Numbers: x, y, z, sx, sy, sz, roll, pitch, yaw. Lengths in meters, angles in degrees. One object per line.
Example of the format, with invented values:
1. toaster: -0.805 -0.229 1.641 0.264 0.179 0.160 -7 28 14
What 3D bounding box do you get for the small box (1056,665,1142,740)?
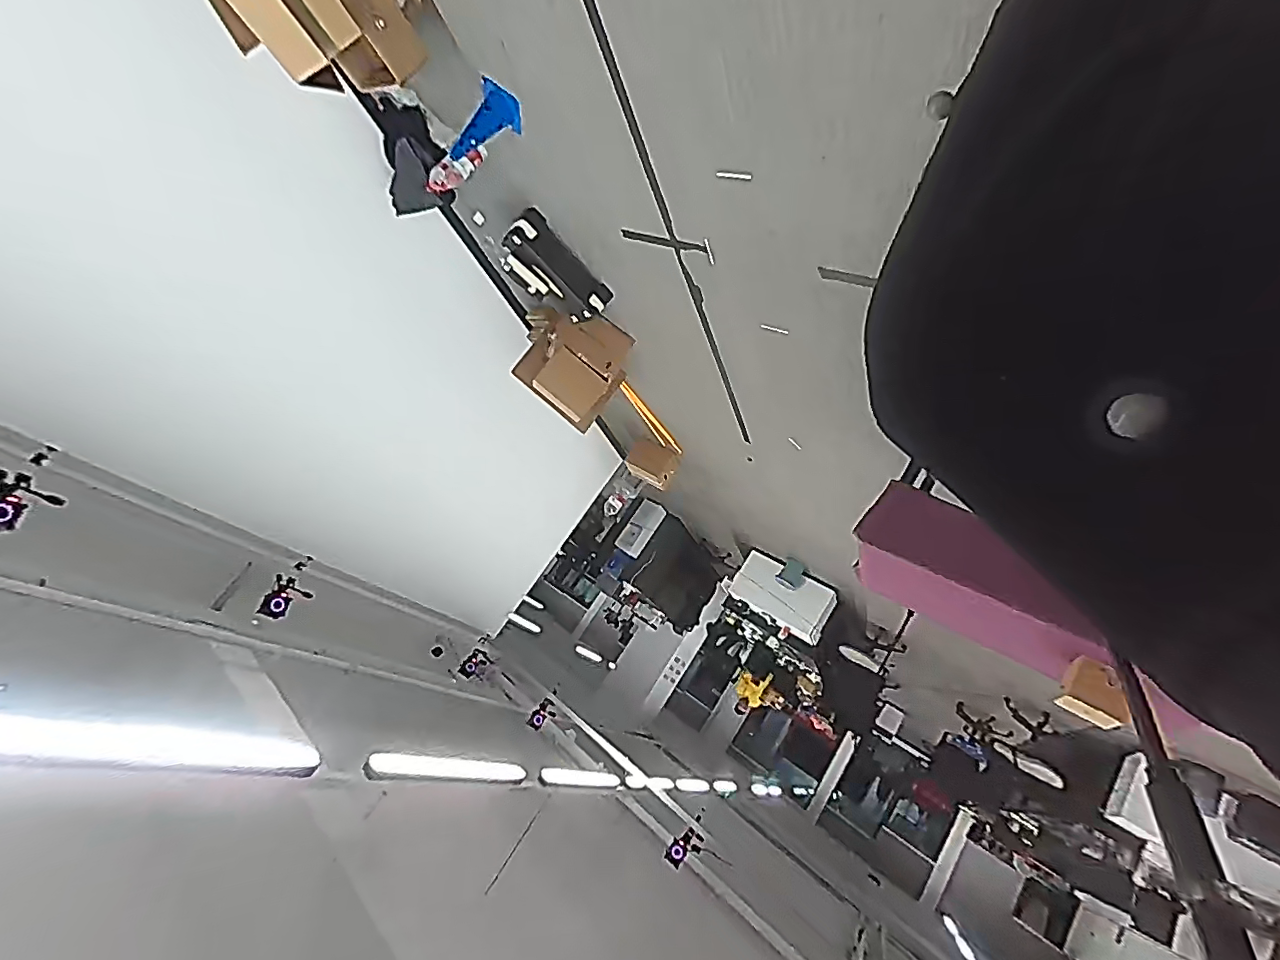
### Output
1. small box: 1.610 0.778 1.897 0.168 0.176 0.179 27 163 33
